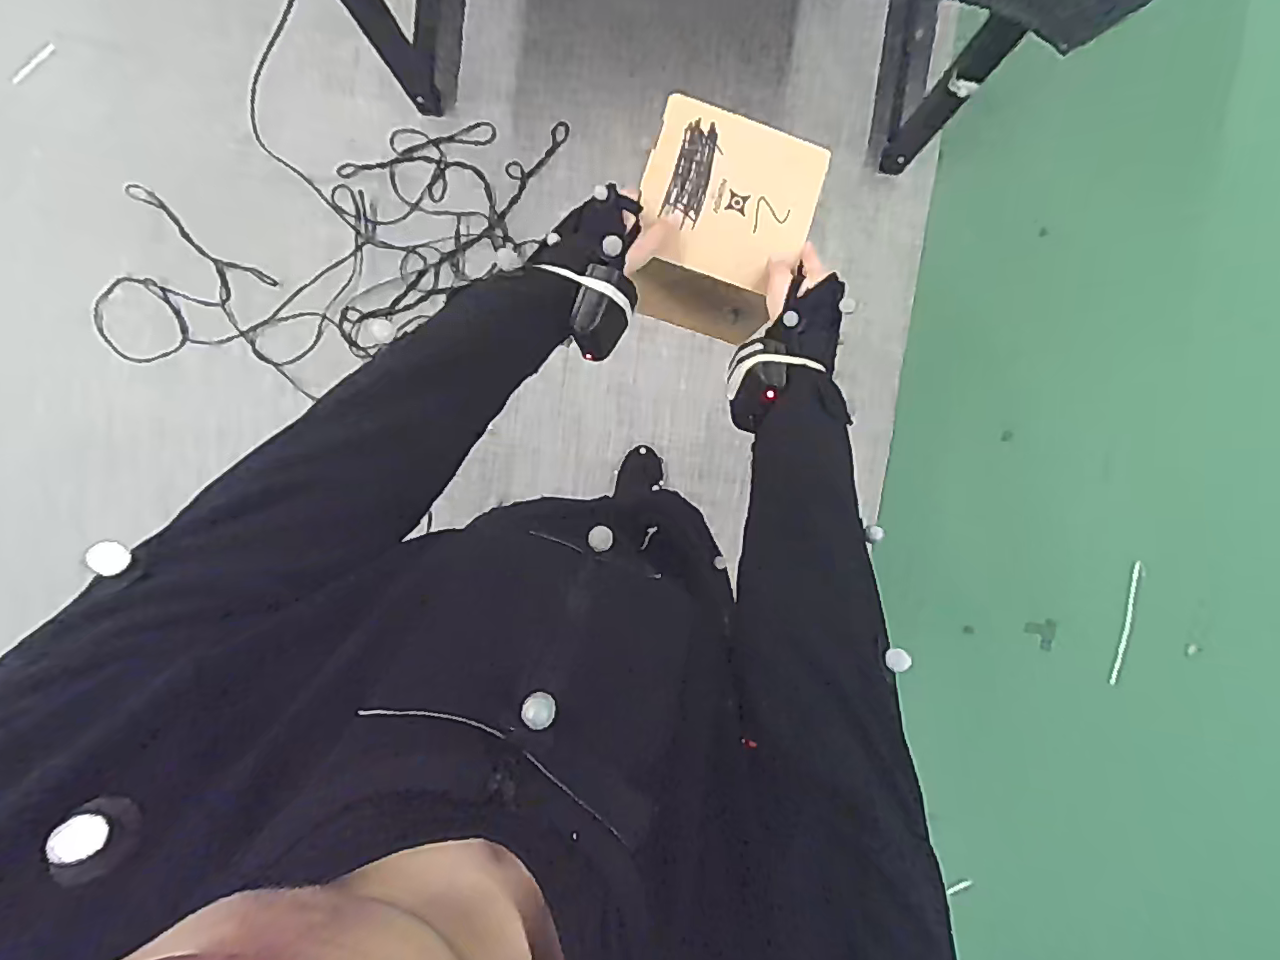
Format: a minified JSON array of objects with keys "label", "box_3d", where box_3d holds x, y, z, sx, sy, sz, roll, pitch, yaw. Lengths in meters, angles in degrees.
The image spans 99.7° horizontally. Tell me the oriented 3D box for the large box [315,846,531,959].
[{"label":"large box","box_3d":[-0.512,1.163,1.288,0.408,0.320,0.320,14,93,1]}]
